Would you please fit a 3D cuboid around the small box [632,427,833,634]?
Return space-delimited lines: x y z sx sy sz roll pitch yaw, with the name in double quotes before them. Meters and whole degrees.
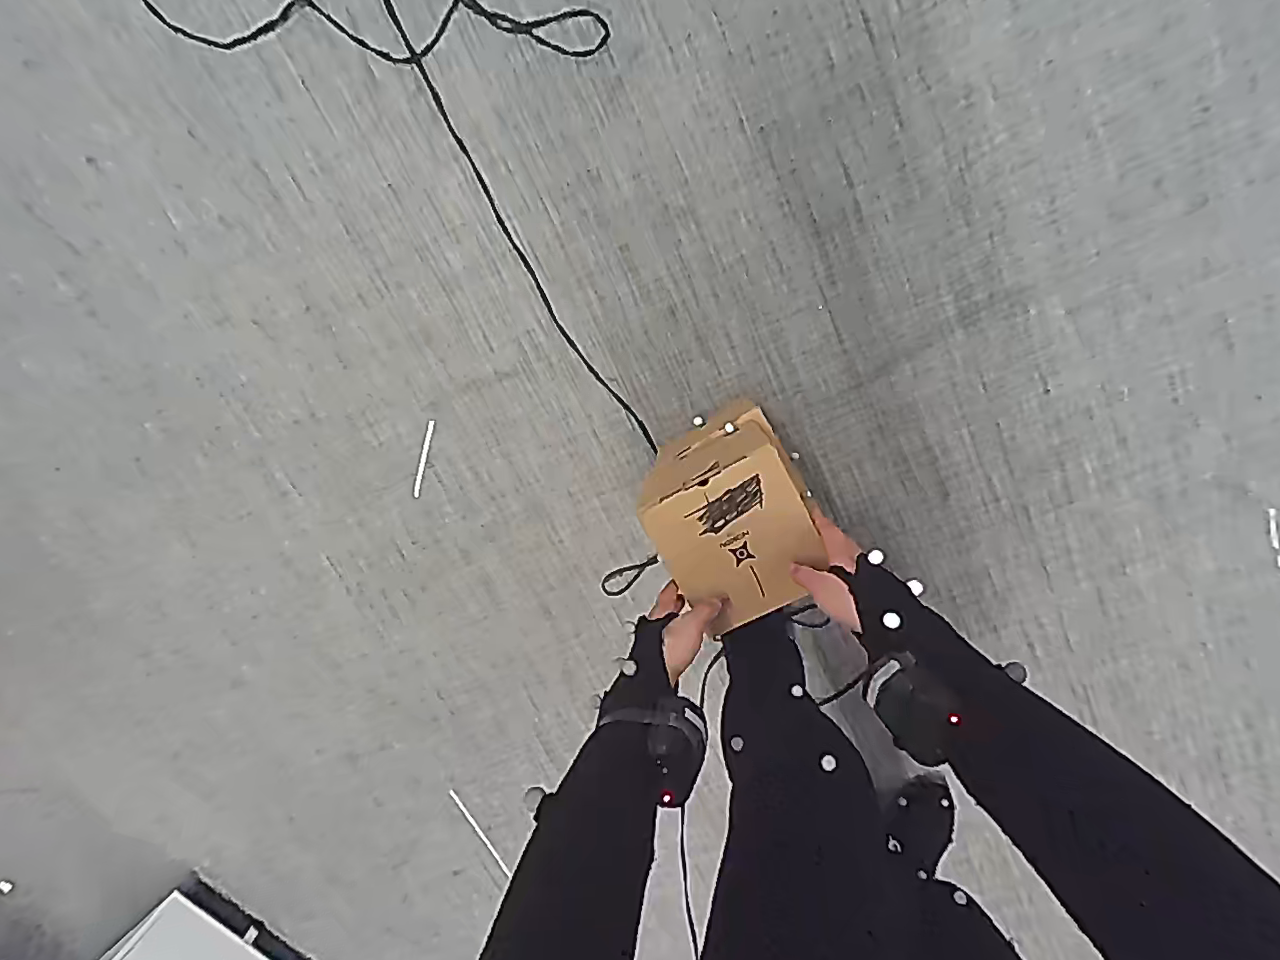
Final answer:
"small box" 0.106 0.048 0.664 0.168 0.176 0.179 -28 102 12

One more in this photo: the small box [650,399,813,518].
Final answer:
"small box" 0.133 -0.005 0.818 0.168 0.176 0.179 -32 99 11
